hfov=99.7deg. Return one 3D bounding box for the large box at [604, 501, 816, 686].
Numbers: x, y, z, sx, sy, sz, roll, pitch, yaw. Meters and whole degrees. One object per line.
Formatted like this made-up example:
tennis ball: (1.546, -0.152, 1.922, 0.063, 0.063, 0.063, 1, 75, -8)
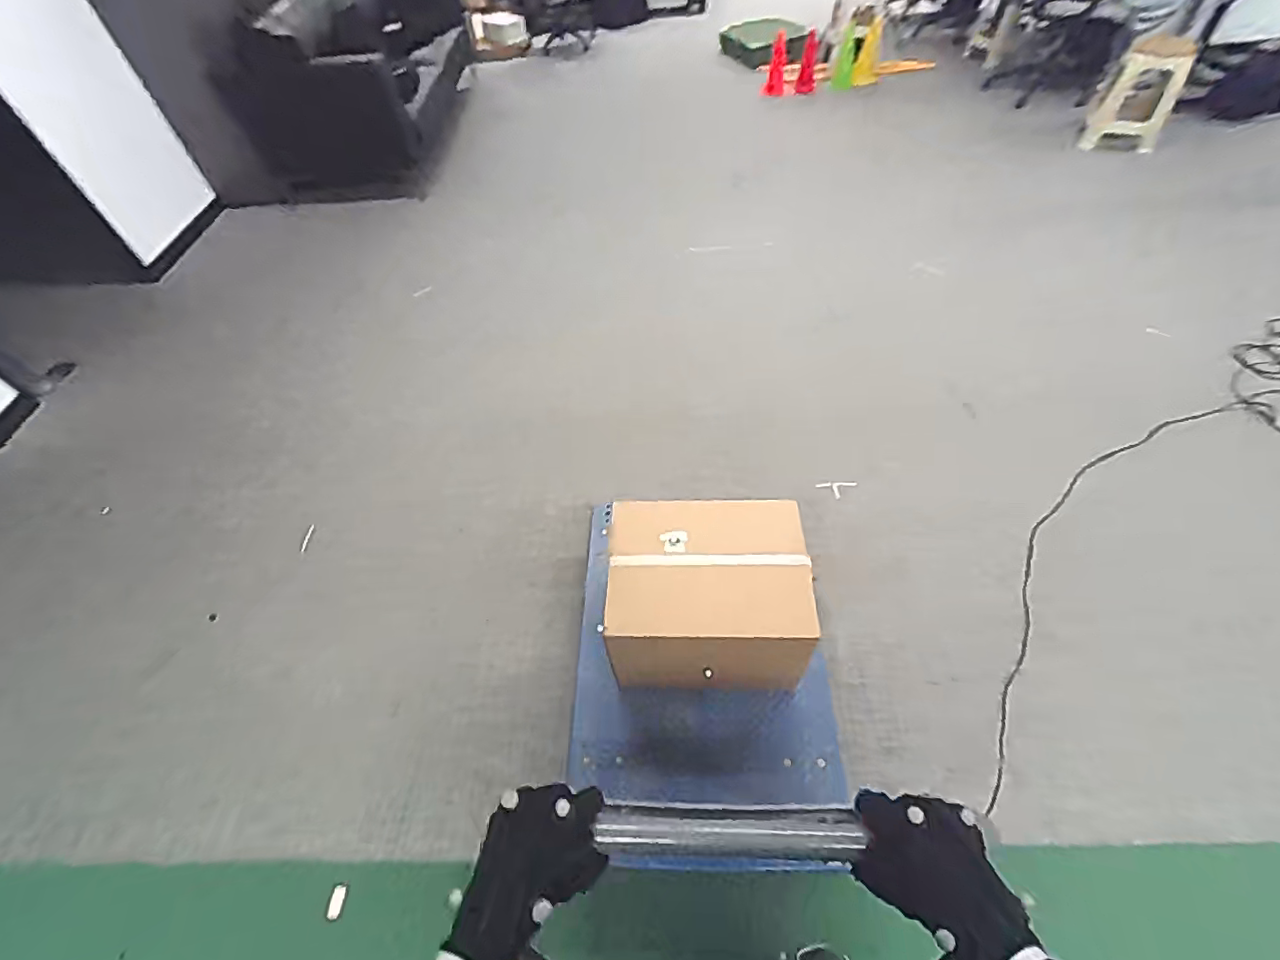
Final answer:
large box: (0.144, 0.264, 1.219, 0.408, 0.320, 0.320, -2, 51, 5)
